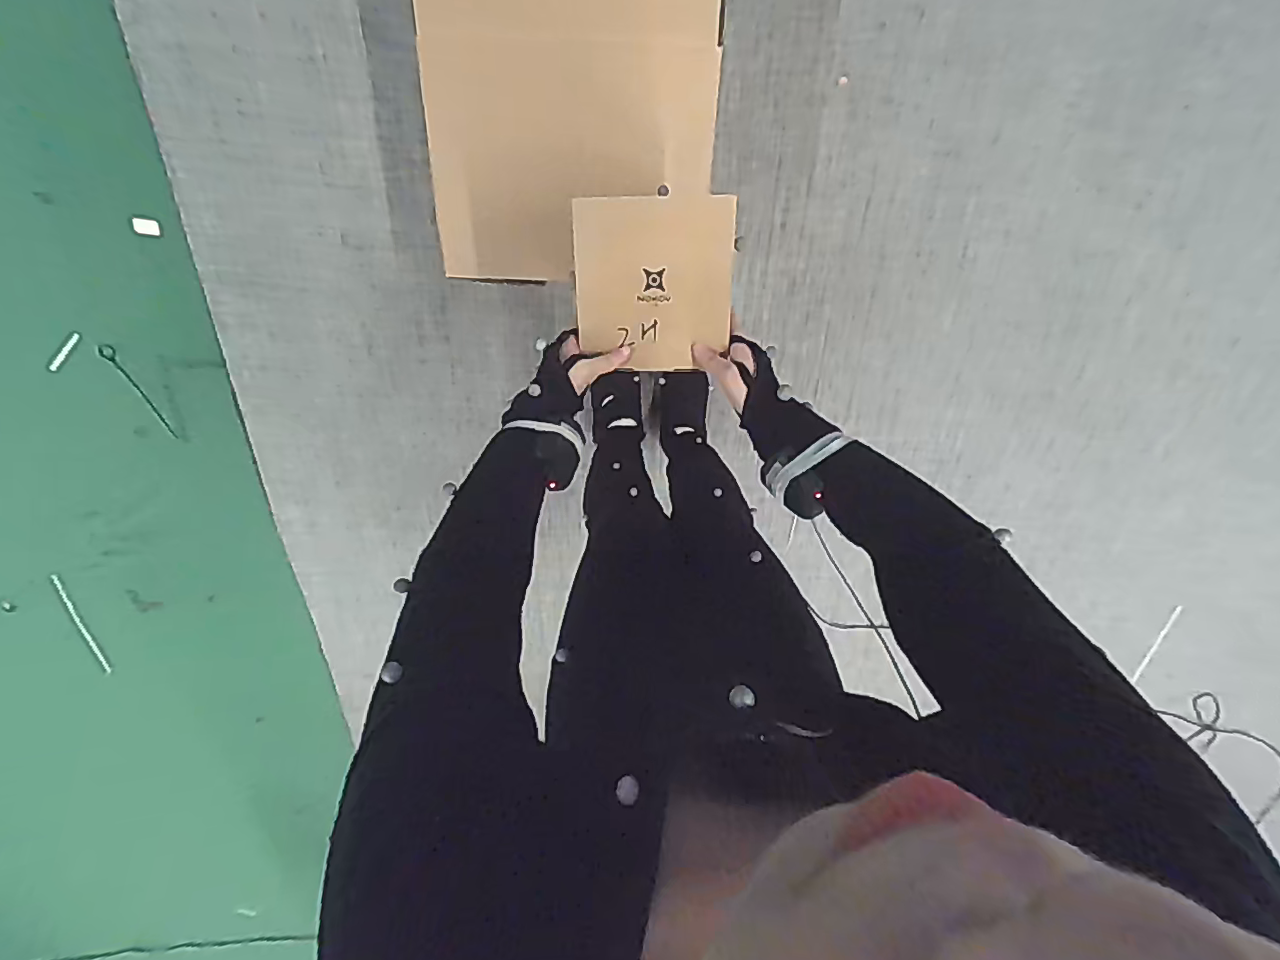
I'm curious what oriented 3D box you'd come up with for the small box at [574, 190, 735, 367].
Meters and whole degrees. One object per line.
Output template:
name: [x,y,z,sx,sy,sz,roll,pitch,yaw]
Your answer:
small box: [0.019,-0.239,0.644,0.168,0.176,0.179,1,114,5]
